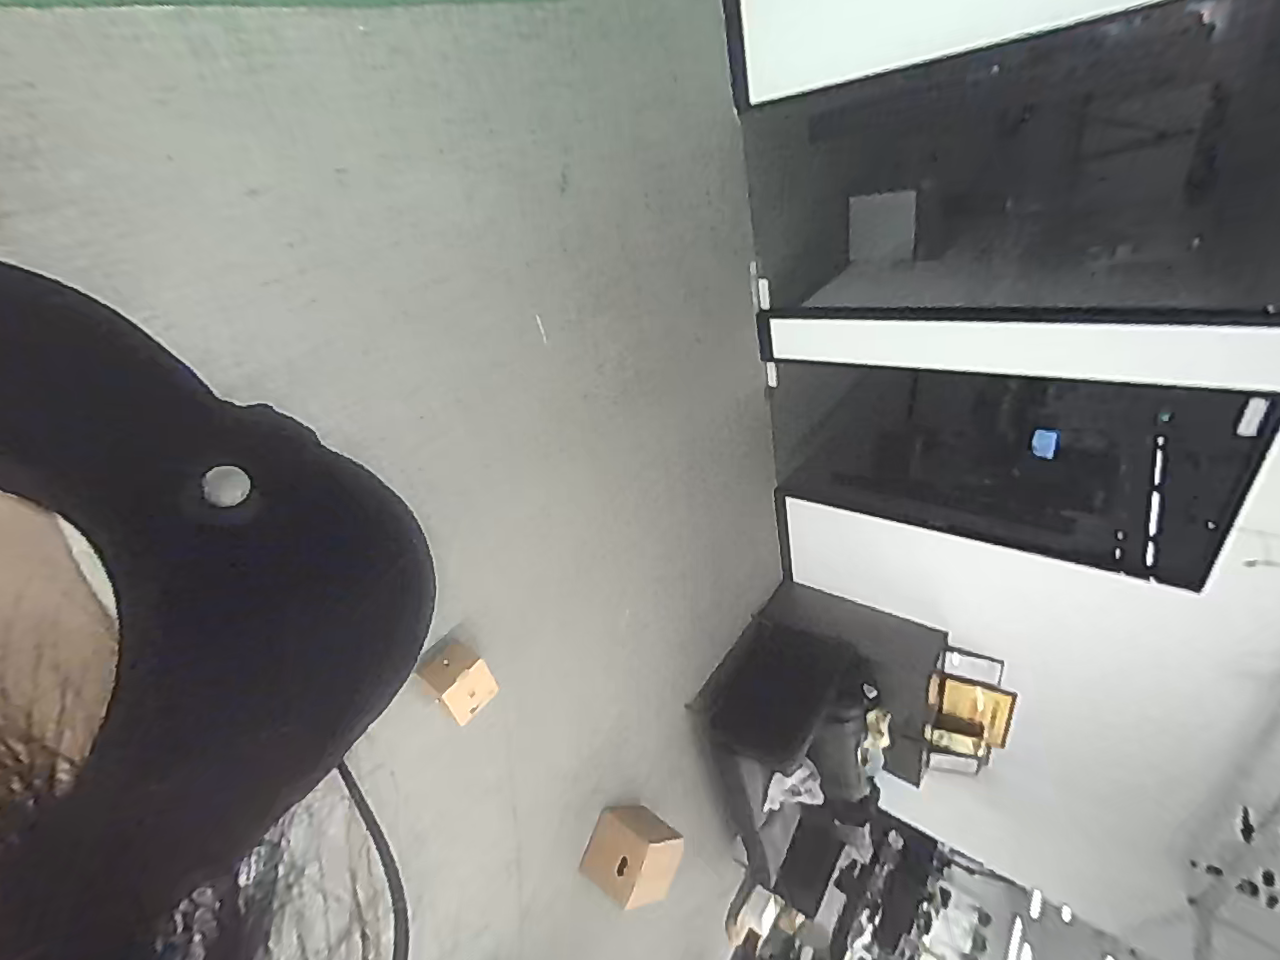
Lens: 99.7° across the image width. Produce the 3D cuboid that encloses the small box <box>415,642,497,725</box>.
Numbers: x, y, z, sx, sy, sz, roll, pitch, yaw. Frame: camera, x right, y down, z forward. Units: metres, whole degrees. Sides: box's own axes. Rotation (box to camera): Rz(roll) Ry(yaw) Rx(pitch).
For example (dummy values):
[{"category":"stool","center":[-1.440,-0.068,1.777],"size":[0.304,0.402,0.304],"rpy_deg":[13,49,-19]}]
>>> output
[{"category":"small box","center":[-0.612,0.664,1.793],"size":[0.168,0.176,0.179],"rpy_deg":[-41,130,-36]}]
